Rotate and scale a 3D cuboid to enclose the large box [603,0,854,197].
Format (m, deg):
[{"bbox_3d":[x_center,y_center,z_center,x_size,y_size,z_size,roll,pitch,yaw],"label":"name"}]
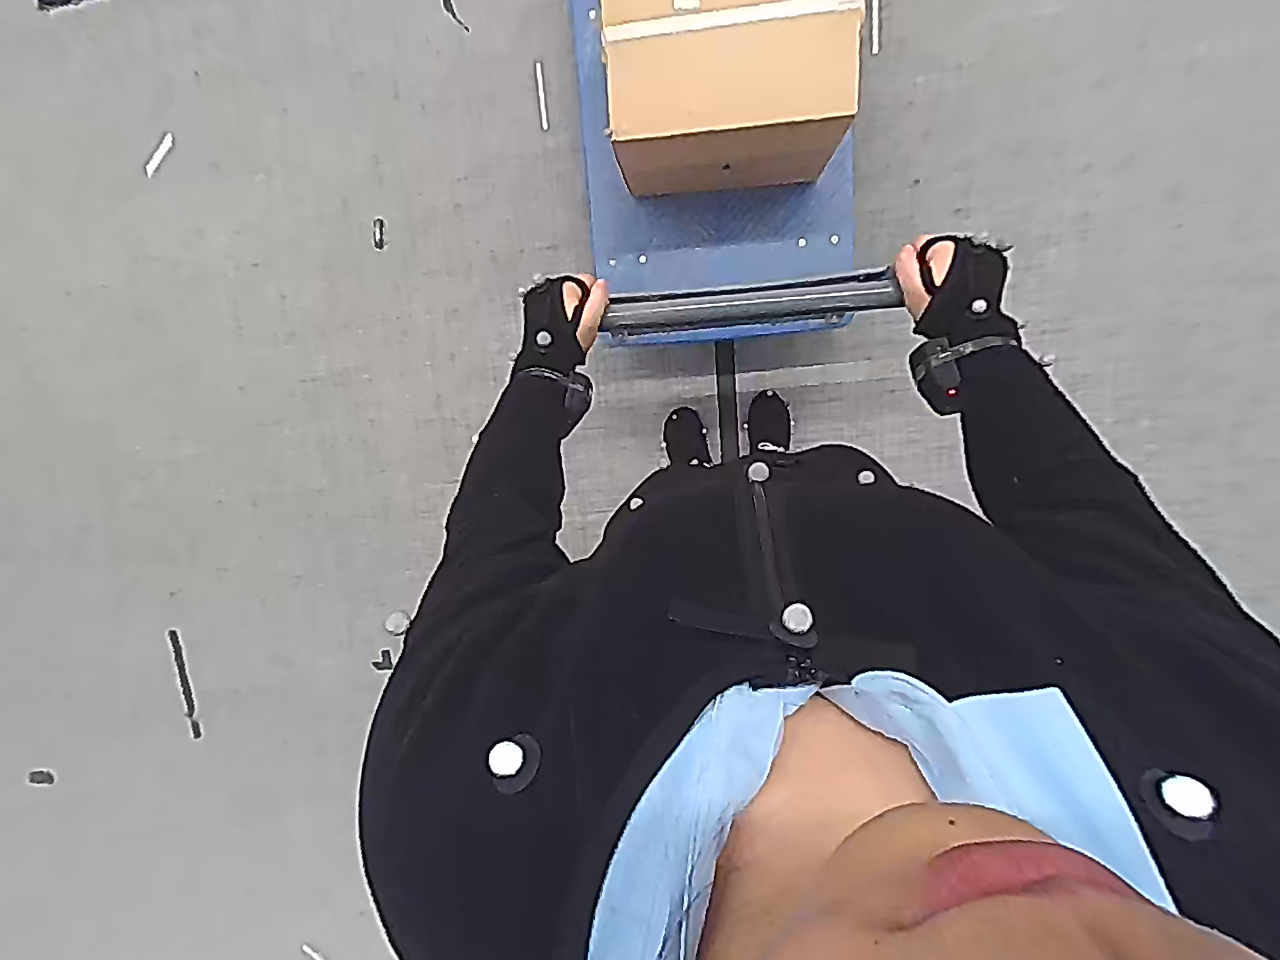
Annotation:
[{"bbox_3d":[0.160,-0.763,1.022,0.408,0.320,0.320,-2,100,8],"label":"large box"}]
